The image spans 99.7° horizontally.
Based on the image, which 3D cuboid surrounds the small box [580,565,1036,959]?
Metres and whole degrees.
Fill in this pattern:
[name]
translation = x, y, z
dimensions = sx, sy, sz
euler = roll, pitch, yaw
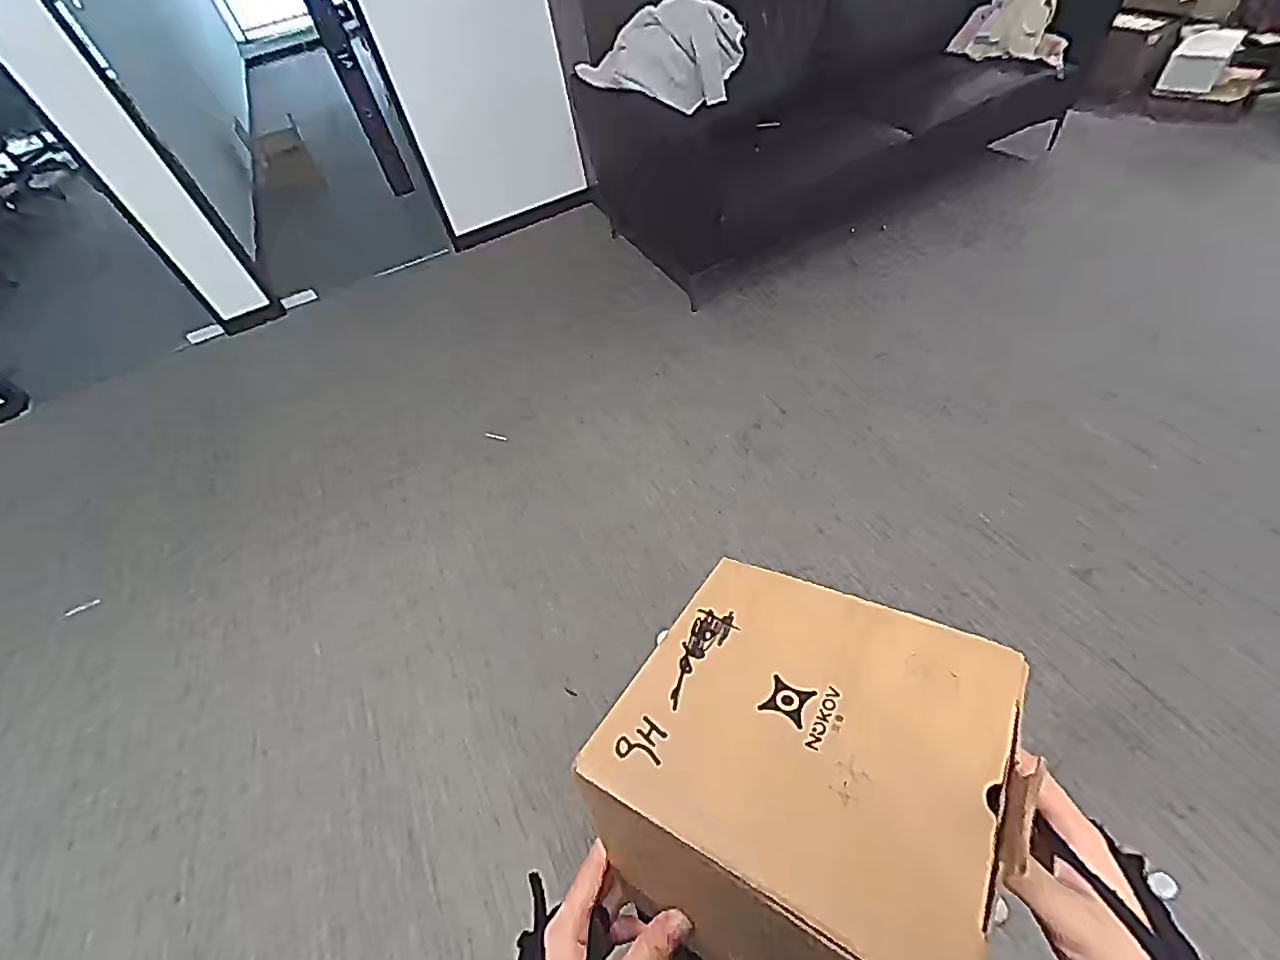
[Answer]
[small box]
translation = 0.095, 0.186, 0.316
dimensions = 0.179, 0.176, 0.168
euler = 17, 42, 33
